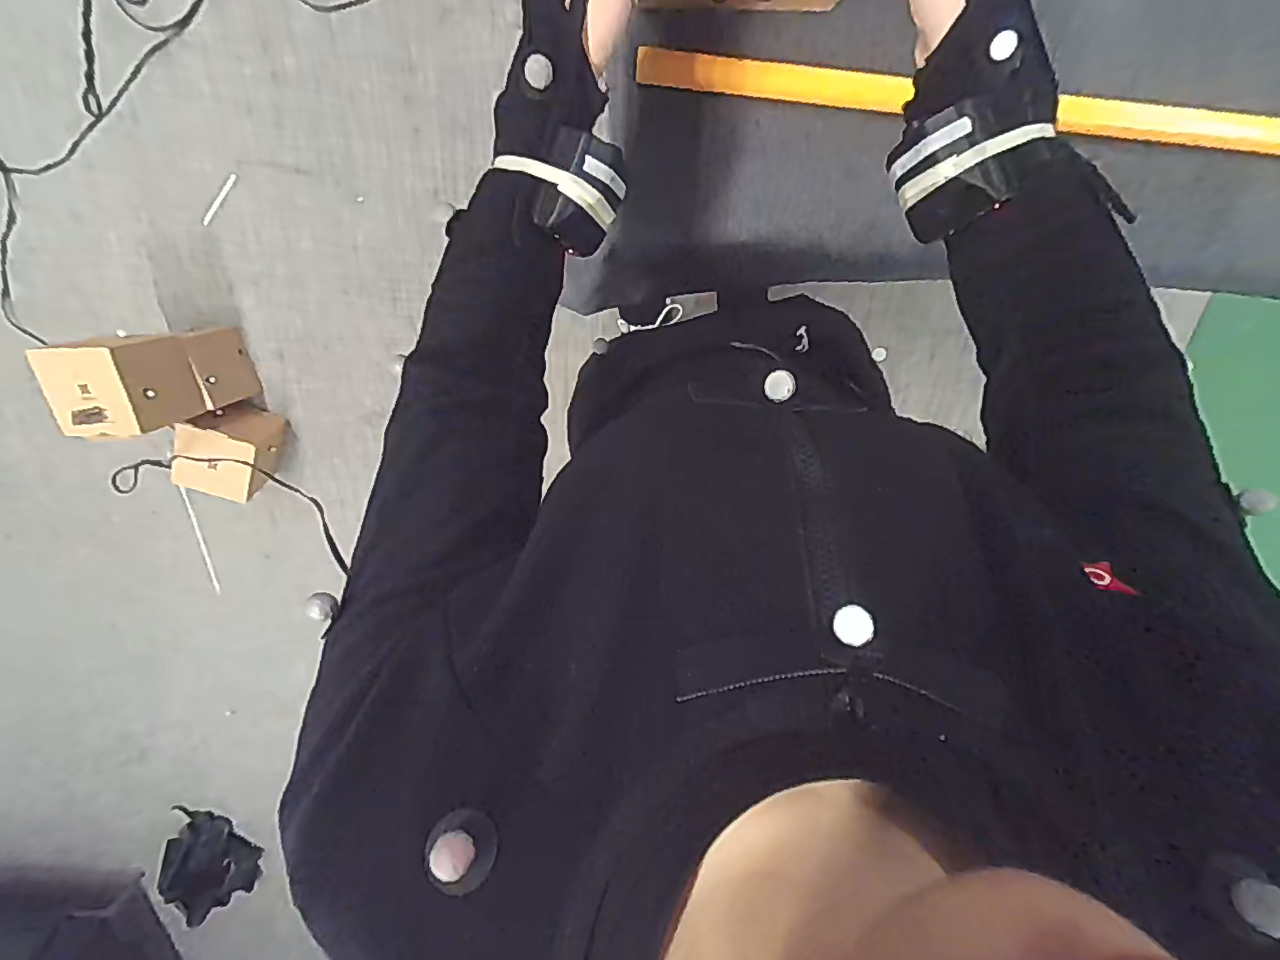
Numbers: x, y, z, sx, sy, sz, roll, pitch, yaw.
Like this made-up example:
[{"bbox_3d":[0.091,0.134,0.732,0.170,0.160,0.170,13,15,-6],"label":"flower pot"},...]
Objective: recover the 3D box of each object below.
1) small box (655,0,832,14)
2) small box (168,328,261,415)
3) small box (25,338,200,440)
[{"bbox_3d":[0.078,-0.433,0.347,0.168,0.176,0.179,1,116,0],"label":"small box"},{"bbox_3d":[-1.052,-0.252,1.272,0.179,0.176,0.168,-7,117,6],"label":"small box"},{"bbox_3d":[-1.067,-0.191,1.115,0.168,0.176,0.179,0,113,2],"label":"small box"}]
